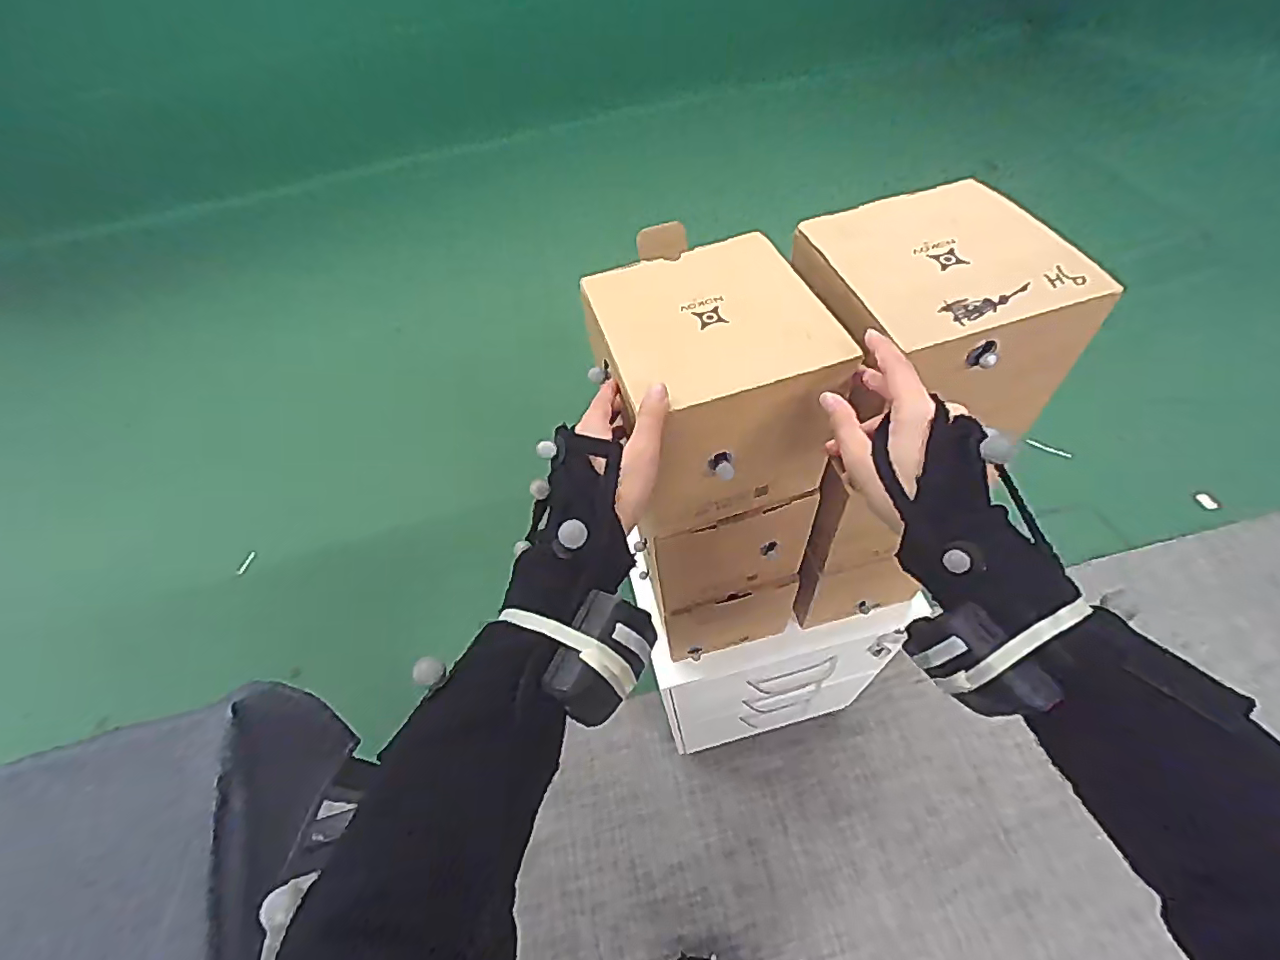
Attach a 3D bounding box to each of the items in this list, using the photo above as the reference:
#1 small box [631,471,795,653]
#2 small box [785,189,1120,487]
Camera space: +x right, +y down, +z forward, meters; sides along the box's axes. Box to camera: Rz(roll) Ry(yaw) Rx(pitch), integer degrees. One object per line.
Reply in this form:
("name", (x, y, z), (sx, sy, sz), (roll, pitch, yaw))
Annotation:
("small box", (0.092, 0.119, 0.733), (0.168, 0.176, 0.179), (-13, 53, -4))
("small box", (0.242, -0.123, 0.482), (0.168, 0.176, 0.179), (-15, 53, -3))
